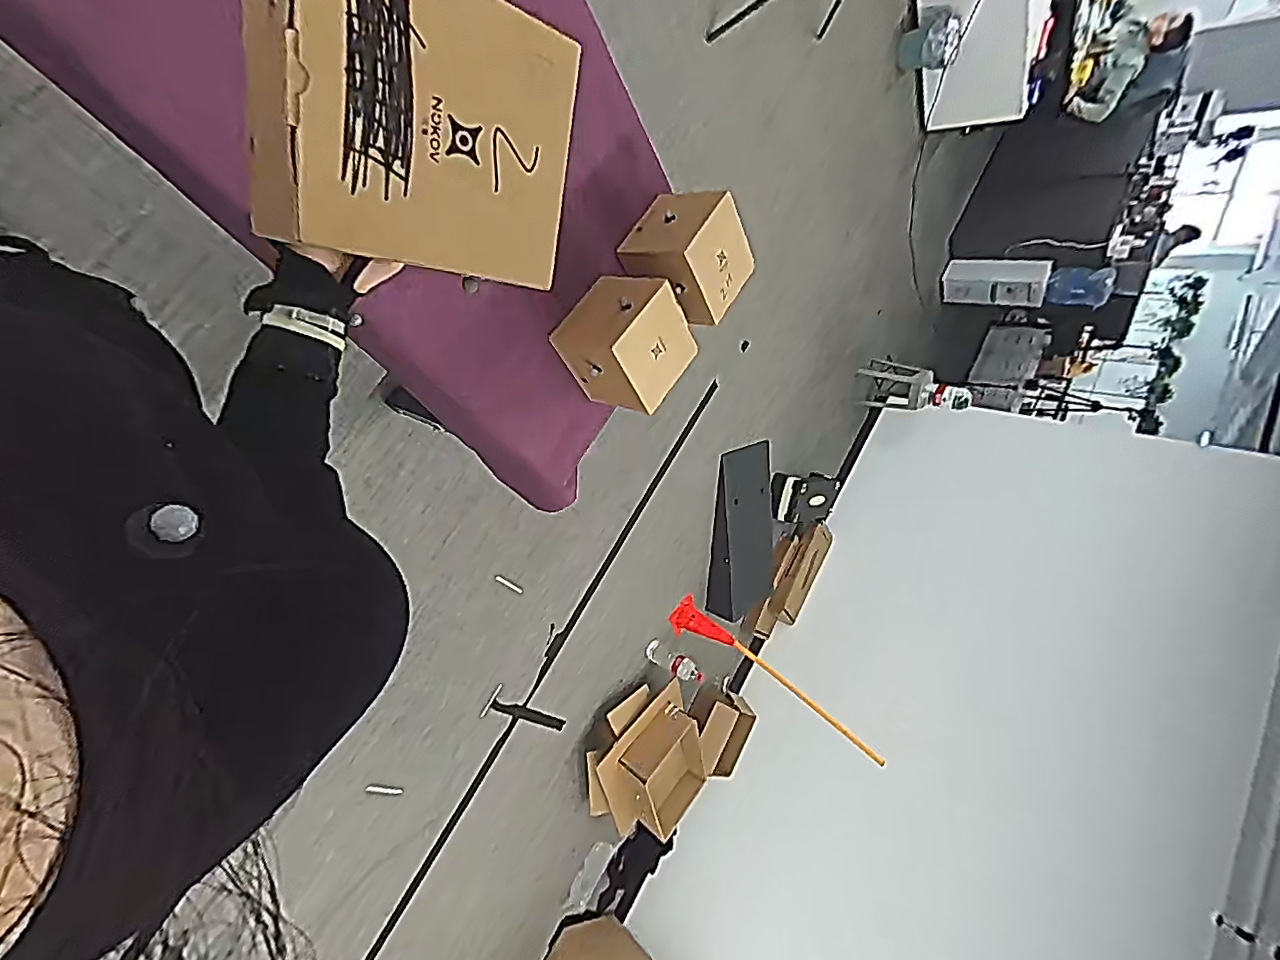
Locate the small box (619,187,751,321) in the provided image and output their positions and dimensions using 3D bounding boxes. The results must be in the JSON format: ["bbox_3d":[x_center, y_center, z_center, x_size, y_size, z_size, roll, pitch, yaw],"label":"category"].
[{"bbox_3d":[0.088,-0.438,1.059,0.168,0.176,0.179,-57,141,-15],"label":"small box"}]

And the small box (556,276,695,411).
[{"bbox_3d":[-0.031,-0.256,1.006,0.179,0.176,0.168,-56,139,-19],"label":"small box"}]
